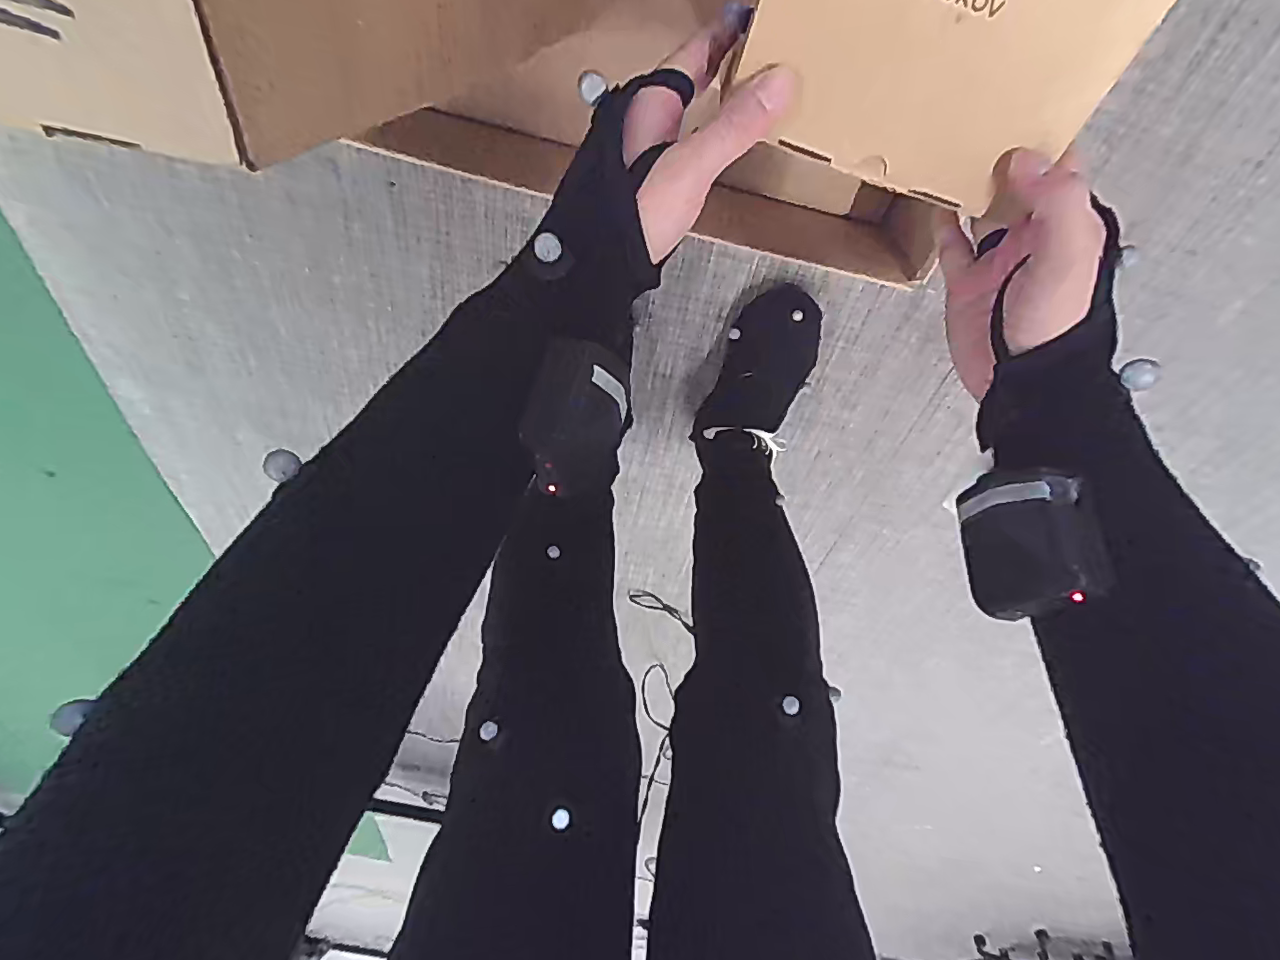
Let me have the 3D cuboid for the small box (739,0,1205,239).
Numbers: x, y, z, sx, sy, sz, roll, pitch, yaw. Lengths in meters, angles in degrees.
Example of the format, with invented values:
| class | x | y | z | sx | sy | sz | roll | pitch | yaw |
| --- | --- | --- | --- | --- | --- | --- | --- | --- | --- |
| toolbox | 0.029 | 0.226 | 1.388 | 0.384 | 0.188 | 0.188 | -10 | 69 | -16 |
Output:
| class | x | y | z | sx | sy | sz | roll | pitch | yaw |
| --- | --- | --- | --- | --- | --- | --- | --- | --- | --- |
| small box | 0.155 | -0.263 | 0.278 | 0.168 | 0.176 | 0.179 | 16 | 134 | -7 |
